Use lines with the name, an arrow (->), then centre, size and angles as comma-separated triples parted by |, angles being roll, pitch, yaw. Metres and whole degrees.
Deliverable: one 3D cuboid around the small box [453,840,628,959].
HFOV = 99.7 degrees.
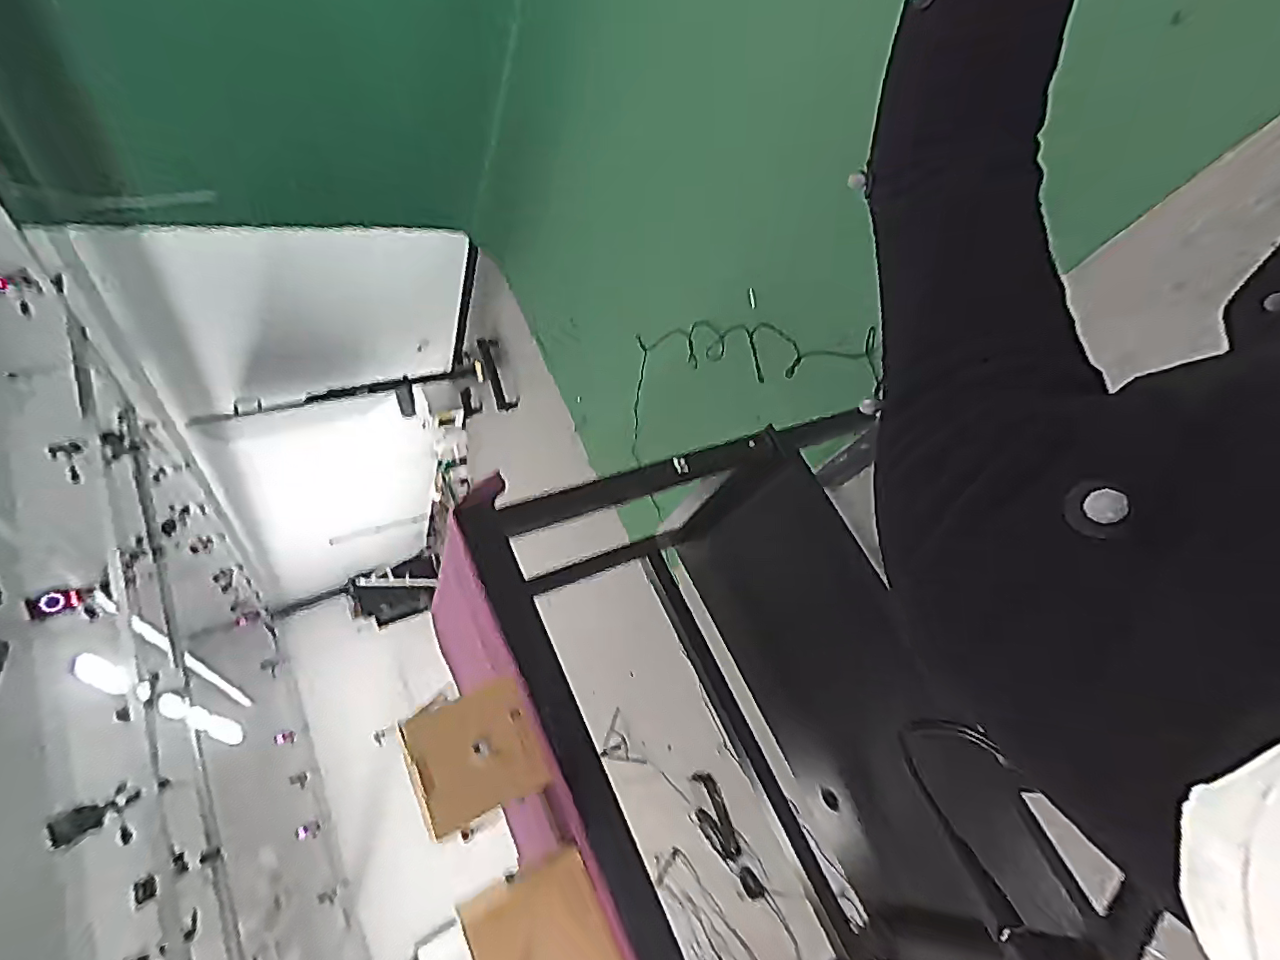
small box -> -0.137, 0.625, 0.736 | 0.179, 0.176, 0.168 | 61, 148, 19
